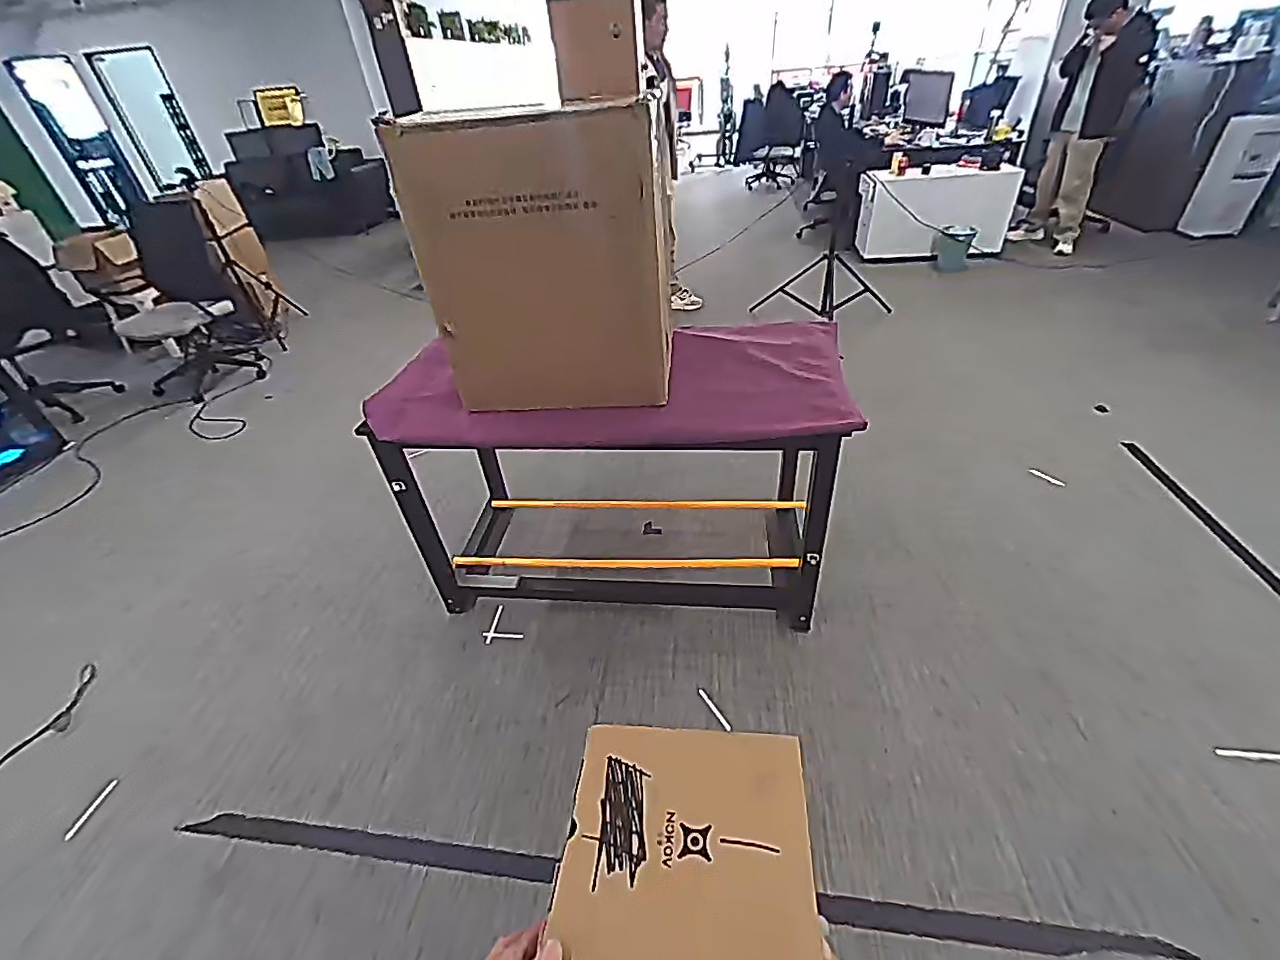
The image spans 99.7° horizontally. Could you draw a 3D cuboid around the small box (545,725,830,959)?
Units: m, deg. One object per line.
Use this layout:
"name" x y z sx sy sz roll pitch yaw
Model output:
"small box" 0.046 0.320 0.426 0.179 0.176 0.168 -2 34 10
